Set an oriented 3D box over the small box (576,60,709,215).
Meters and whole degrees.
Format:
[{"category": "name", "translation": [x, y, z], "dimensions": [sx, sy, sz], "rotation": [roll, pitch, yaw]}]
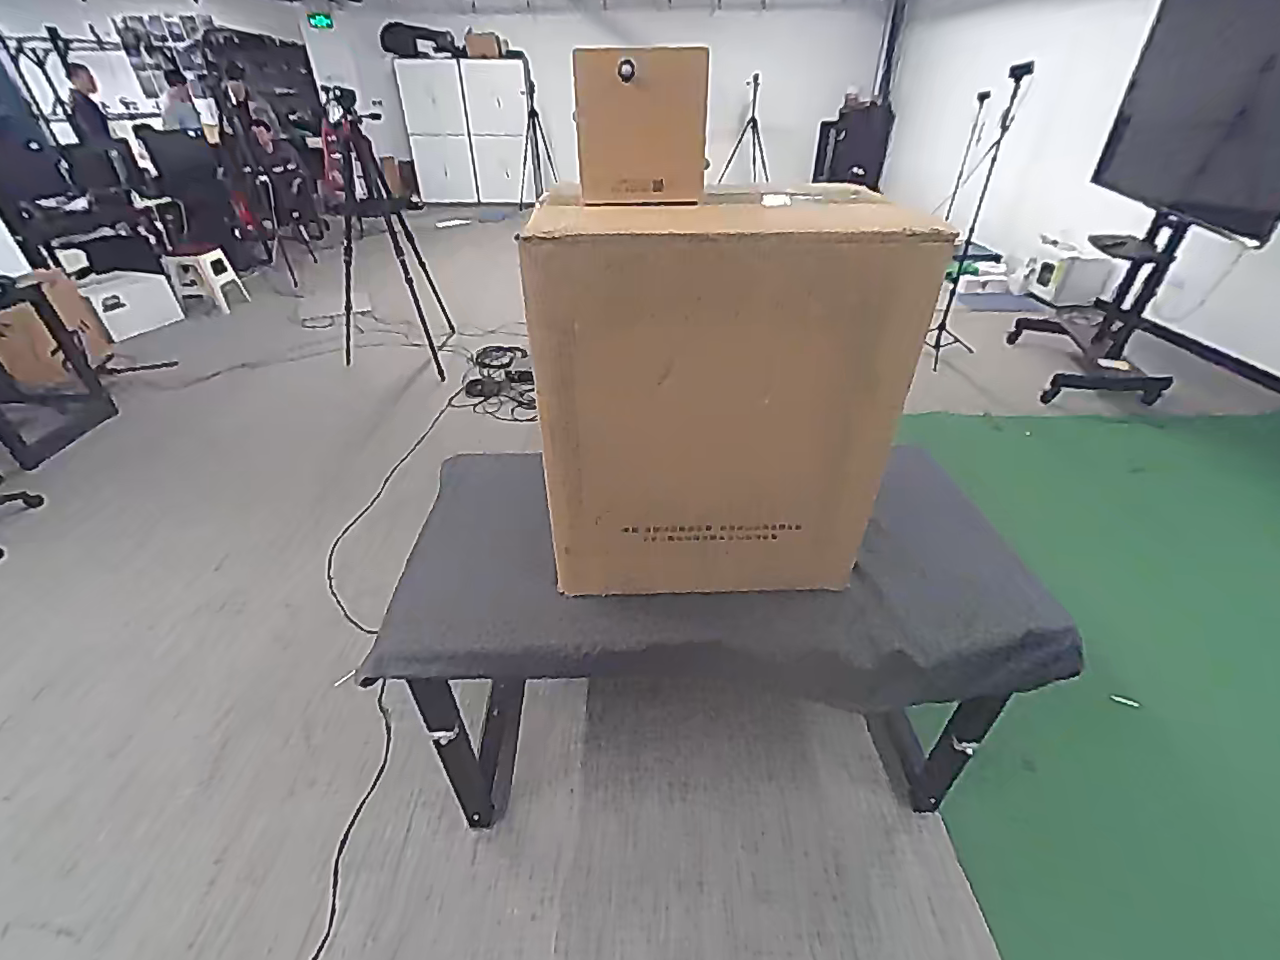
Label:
[{"category": "small box", "translation": [0.003, -0.480, 0.767], "dimensions": [0.168, 0.176, 0.179], "rotation": [-1, 33, 0]}]
